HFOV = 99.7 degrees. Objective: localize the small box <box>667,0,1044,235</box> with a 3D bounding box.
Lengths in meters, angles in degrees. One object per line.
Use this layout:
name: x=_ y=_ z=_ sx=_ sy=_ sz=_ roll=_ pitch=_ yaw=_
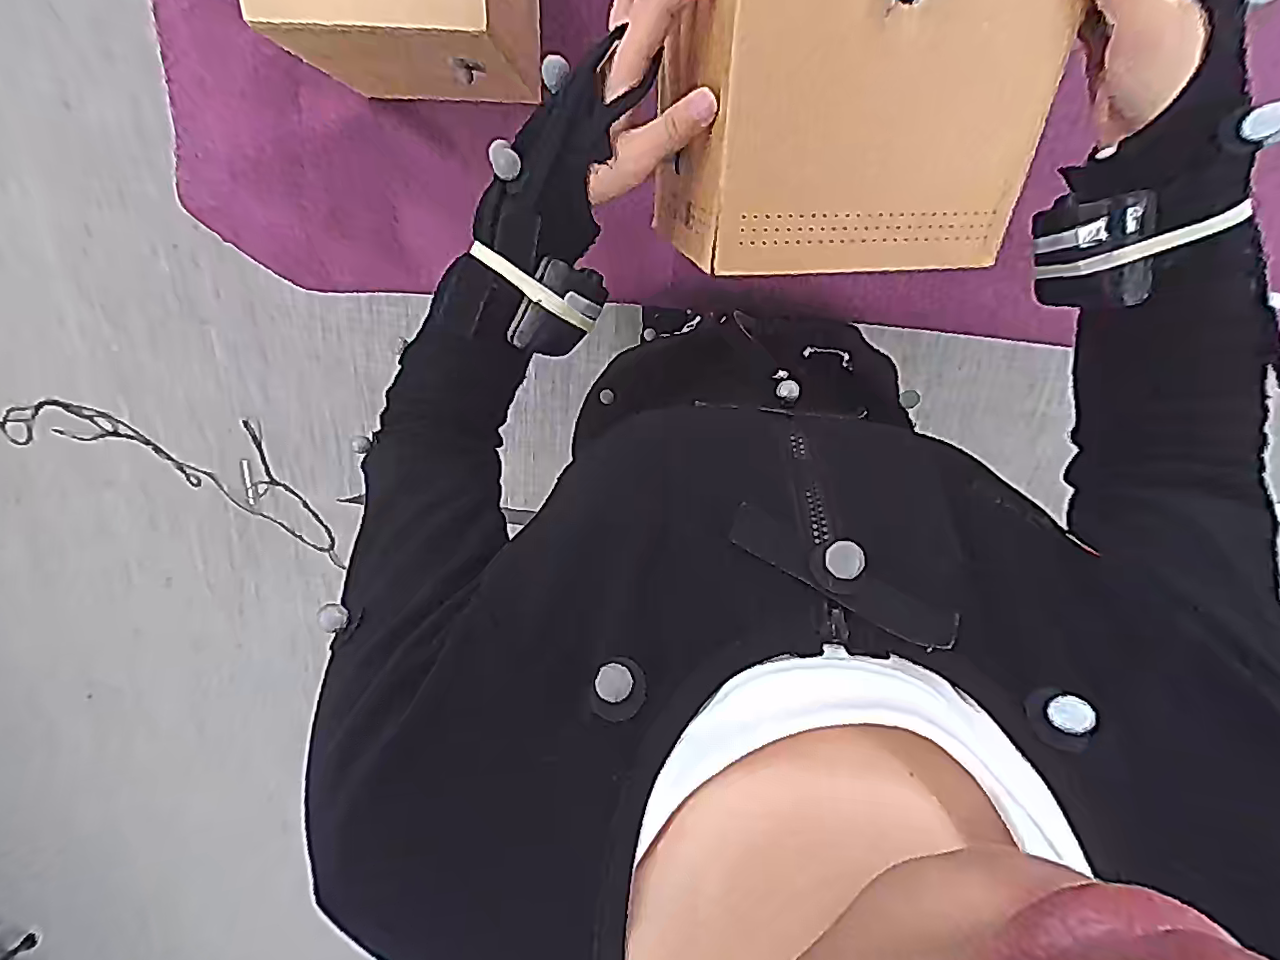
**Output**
small box: x=0.108 y=-0.275 z=0.337 sx=0.179 sy=0.168 sz=0.176 roll=0 pitch=150 yaw=1
